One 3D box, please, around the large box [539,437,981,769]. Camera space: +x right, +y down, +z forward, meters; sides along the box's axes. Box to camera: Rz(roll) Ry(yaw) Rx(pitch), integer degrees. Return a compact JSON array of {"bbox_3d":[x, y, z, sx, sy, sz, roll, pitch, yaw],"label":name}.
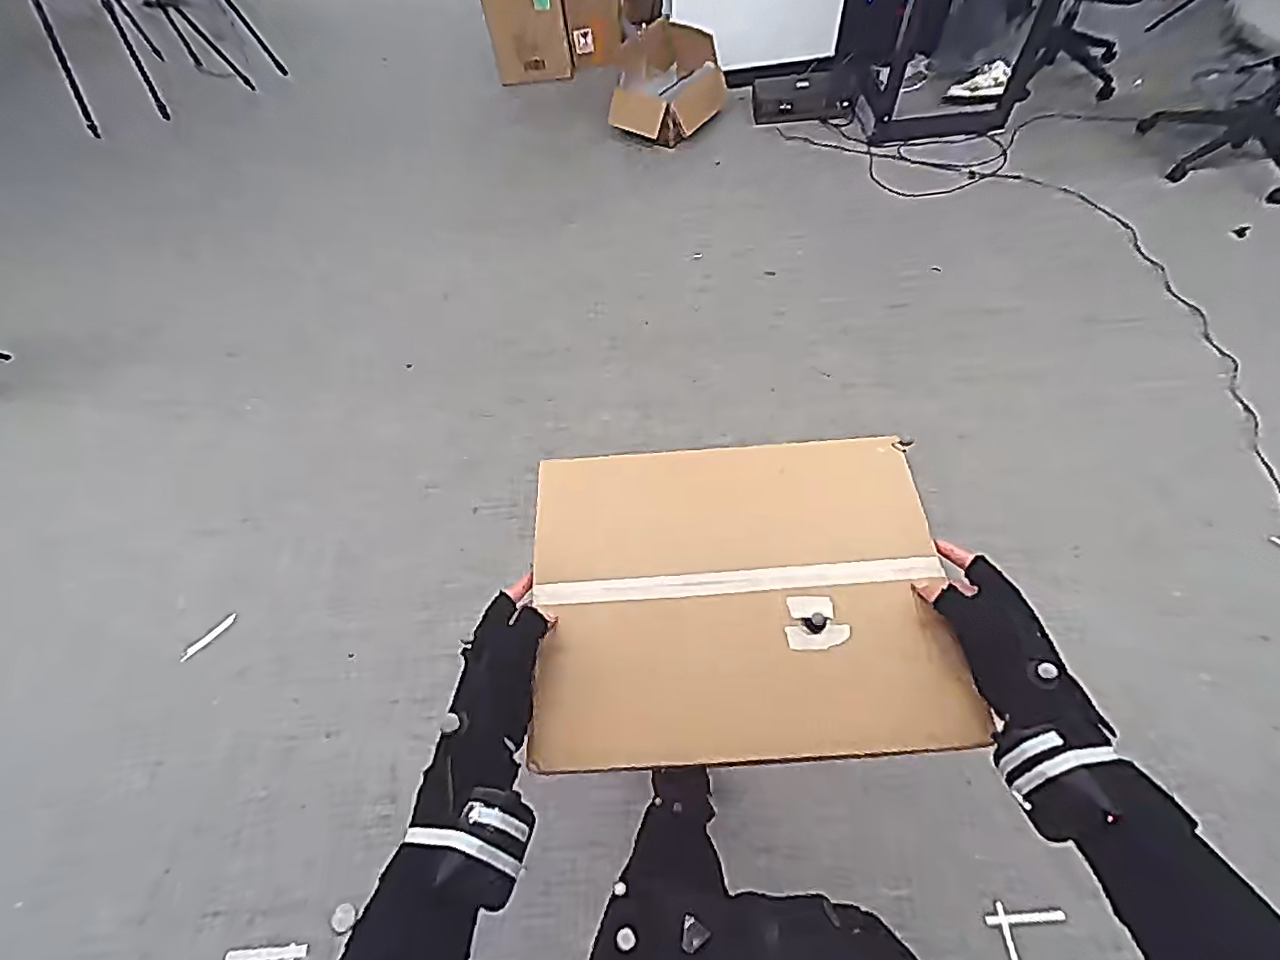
[{"bbox_3d":[0.101,0.171,0.678,0.408,0.320,0.320,-4,62,0],"label":"large box"}]
